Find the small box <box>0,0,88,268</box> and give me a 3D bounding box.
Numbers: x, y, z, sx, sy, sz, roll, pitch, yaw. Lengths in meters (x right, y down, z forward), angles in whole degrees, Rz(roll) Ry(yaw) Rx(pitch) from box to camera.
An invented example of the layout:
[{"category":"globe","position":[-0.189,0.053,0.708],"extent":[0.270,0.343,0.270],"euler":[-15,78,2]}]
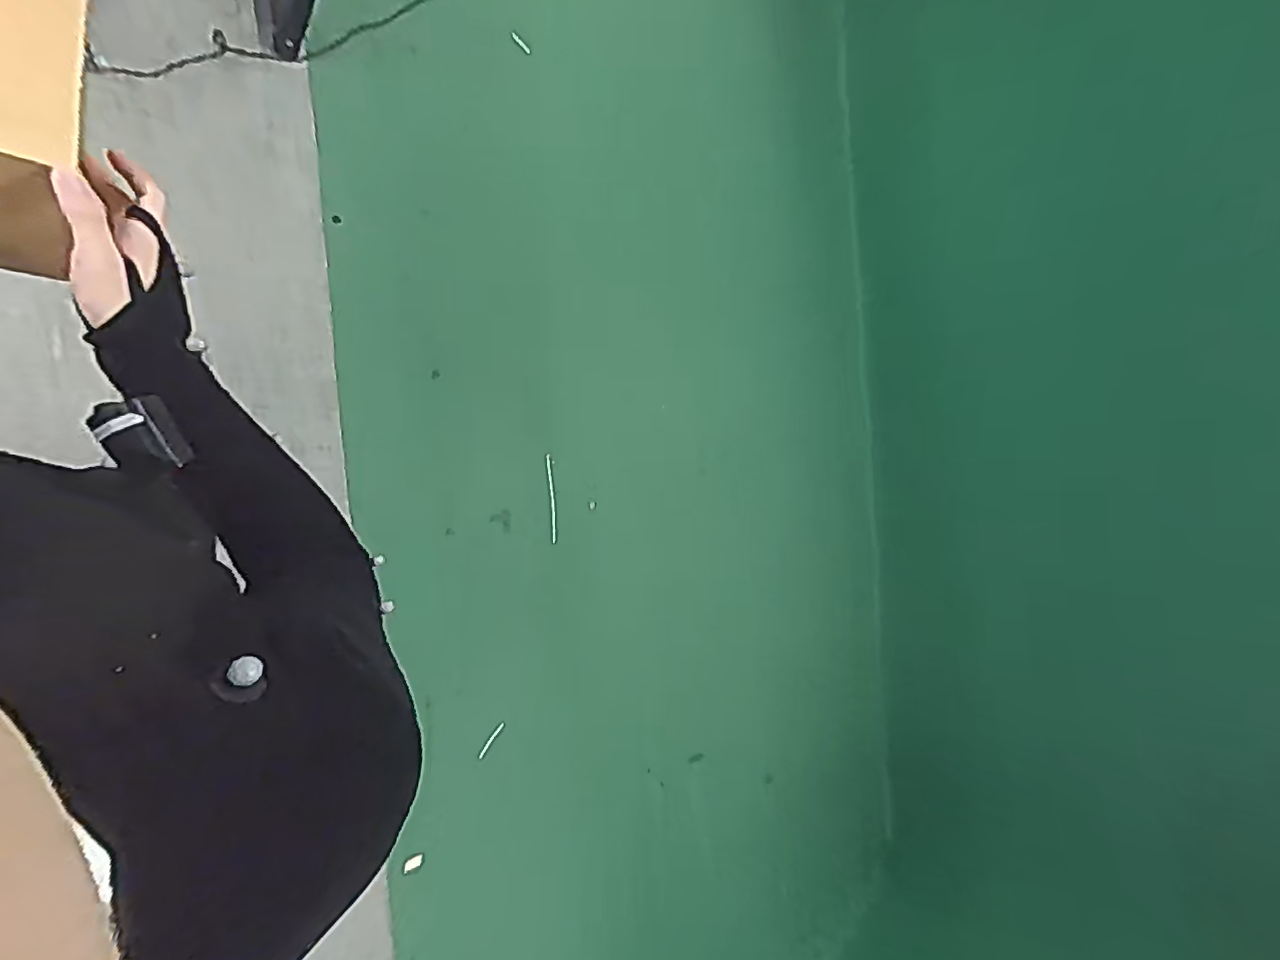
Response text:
[{"category":"small box","position":[-0.529,-0.289,0.397],"extent":[0.168,0.176,0.179],"euler":[2,75,-45]}]
